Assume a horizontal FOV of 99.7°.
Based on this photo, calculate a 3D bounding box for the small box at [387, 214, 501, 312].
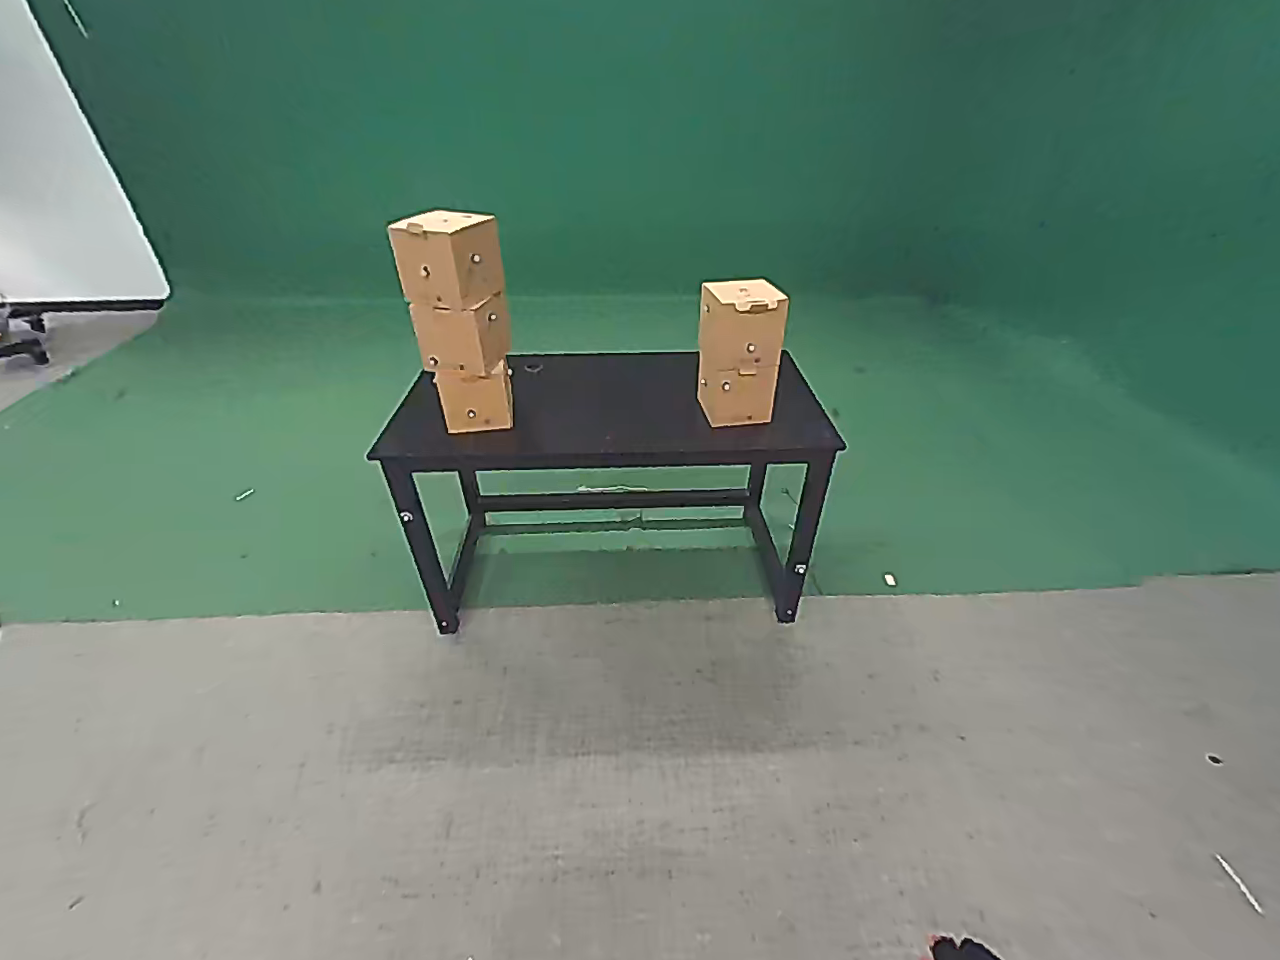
[{"bbox_3d":[-0.445,-0.507,1.264,0.168,0.176,0.179,14,41,16],"label":"small box"}]

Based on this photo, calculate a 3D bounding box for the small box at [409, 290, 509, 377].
[{"bbox_3d":[-0.442,-0.372,1.357,0.168,0.176,0.179,7,37,8],"label":"small box"}]

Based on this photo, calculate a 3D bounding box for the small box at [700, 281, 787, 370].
[{"bbox_3d":[0.253,-0.394,1.377,0.168,0.176,0.179,-7,37,-7],"label":"small box"}]

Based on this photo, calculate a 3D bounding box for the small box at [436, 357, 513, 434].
[{"bbox_3d":[-0.439,-0.240,1.456,0.168,0.176,0.179,-6,38,-9],"label":"small box"}]
